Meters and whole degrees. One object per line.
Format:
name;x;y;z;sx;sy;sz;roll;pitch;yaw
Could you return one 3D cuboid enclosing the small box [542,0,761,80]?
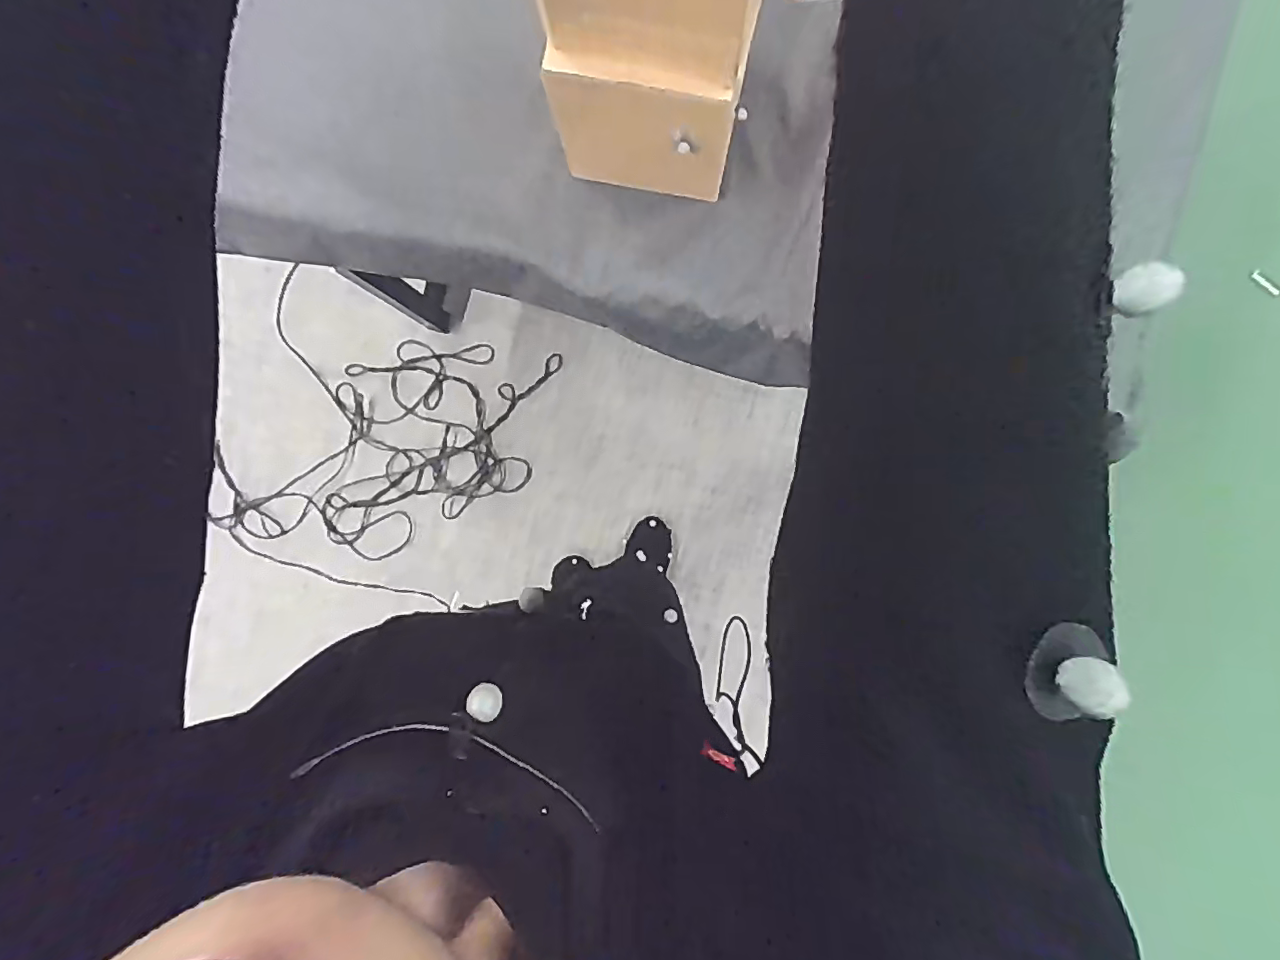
small box;0.017;-0.442;0.396;0.179;0.176;0.168;15;89;3
